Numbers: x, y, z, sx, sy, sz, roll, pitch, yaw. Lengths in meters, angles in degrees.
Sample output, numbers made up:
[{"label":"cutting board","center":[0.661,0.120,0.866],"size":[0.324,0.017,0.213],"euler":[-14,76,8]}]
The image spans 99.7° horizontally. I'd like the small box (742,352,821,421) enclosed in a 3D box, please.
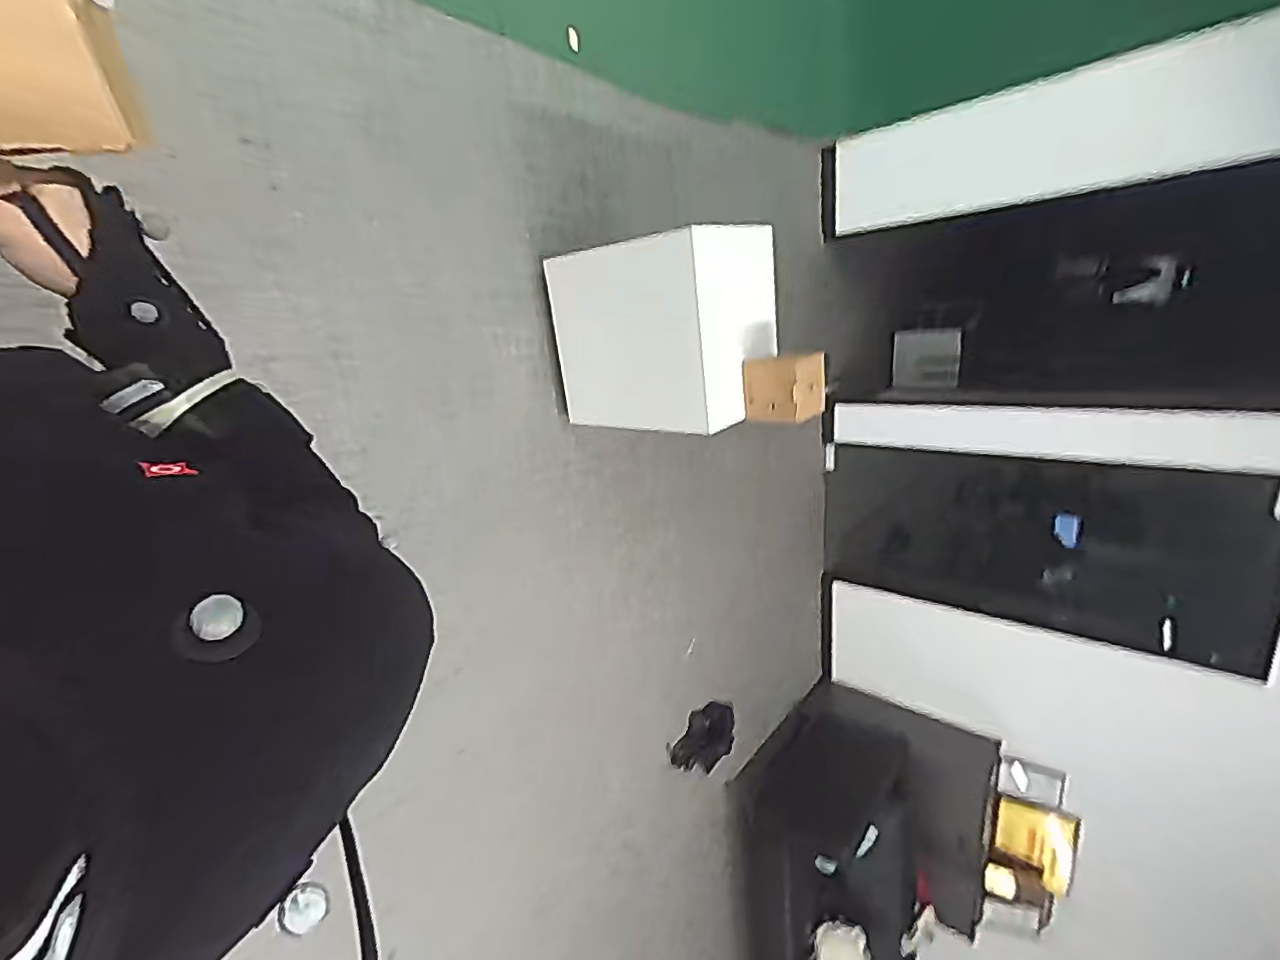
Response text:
[{"label":"small box","center":[0.401,-0.267,1.541],"size":[0.179,0.176,0.168],"euler":[-26,117,-44]}]
